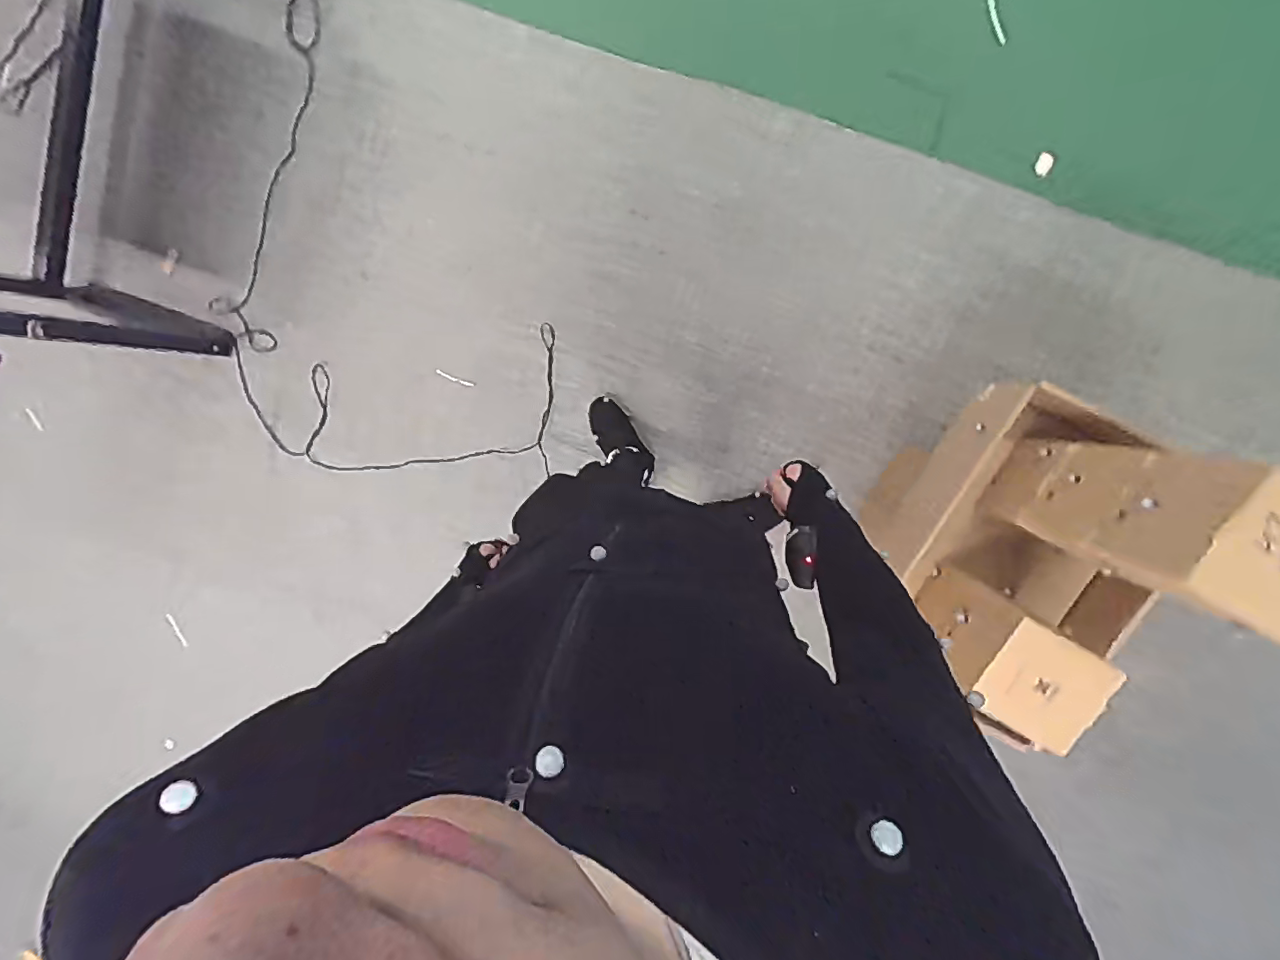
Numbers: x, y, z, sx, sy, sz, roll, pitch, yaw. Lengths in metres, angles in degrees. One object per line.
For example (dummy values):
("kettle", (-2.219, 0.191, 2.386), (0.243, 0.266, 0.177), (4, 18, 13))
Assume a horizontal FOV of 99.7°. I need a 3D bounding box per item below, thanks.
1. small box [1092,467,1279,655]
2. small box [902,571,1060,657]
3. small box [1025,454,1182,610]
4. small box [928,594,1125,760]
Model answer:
("small box", (0.764, 0.095, 0.703), (0.179, 0.176, 0.168), (31, 100, 2))
("small box", (0.662, 0.300, 1.077), (0.179, 0.176, 0.168), (31, 101, 2))
("small box", (0.782, 0.070, 0.865), (0.179, 0.176, 0.168), (31, 101, 3))
("small box", (0.636, 0.320, 0.917), (0.179, 0.176, 0.168), (30, 100, 3))
